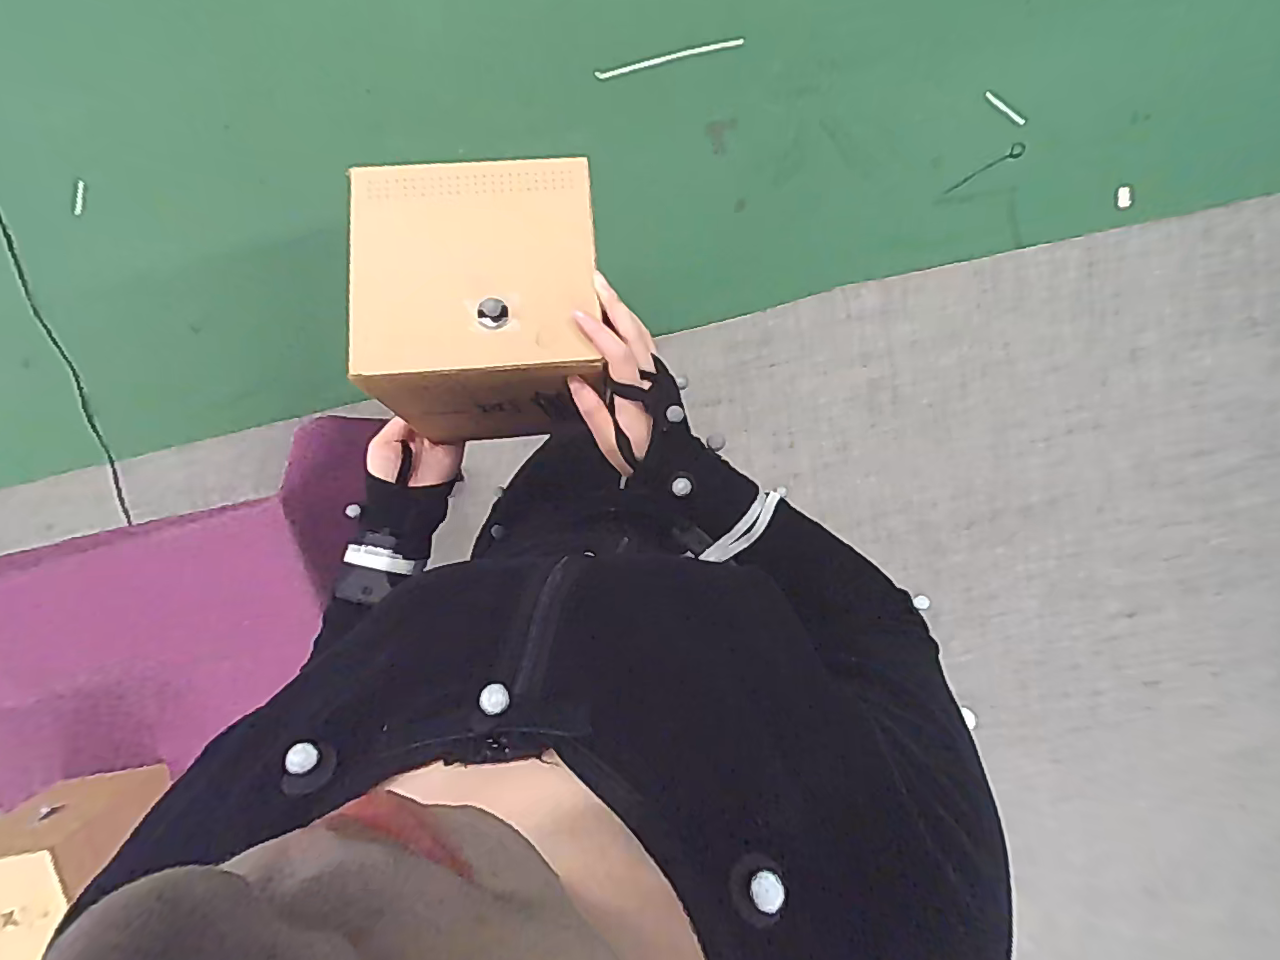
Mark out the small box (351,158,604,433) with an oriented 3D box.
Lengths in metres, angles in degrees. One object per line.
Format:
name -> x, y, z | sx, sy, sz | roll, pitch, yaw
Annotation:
small box -> -0.125, -0.148, 0.466 | 0.179, 0.168, 0.176 | -4, 79, -4
